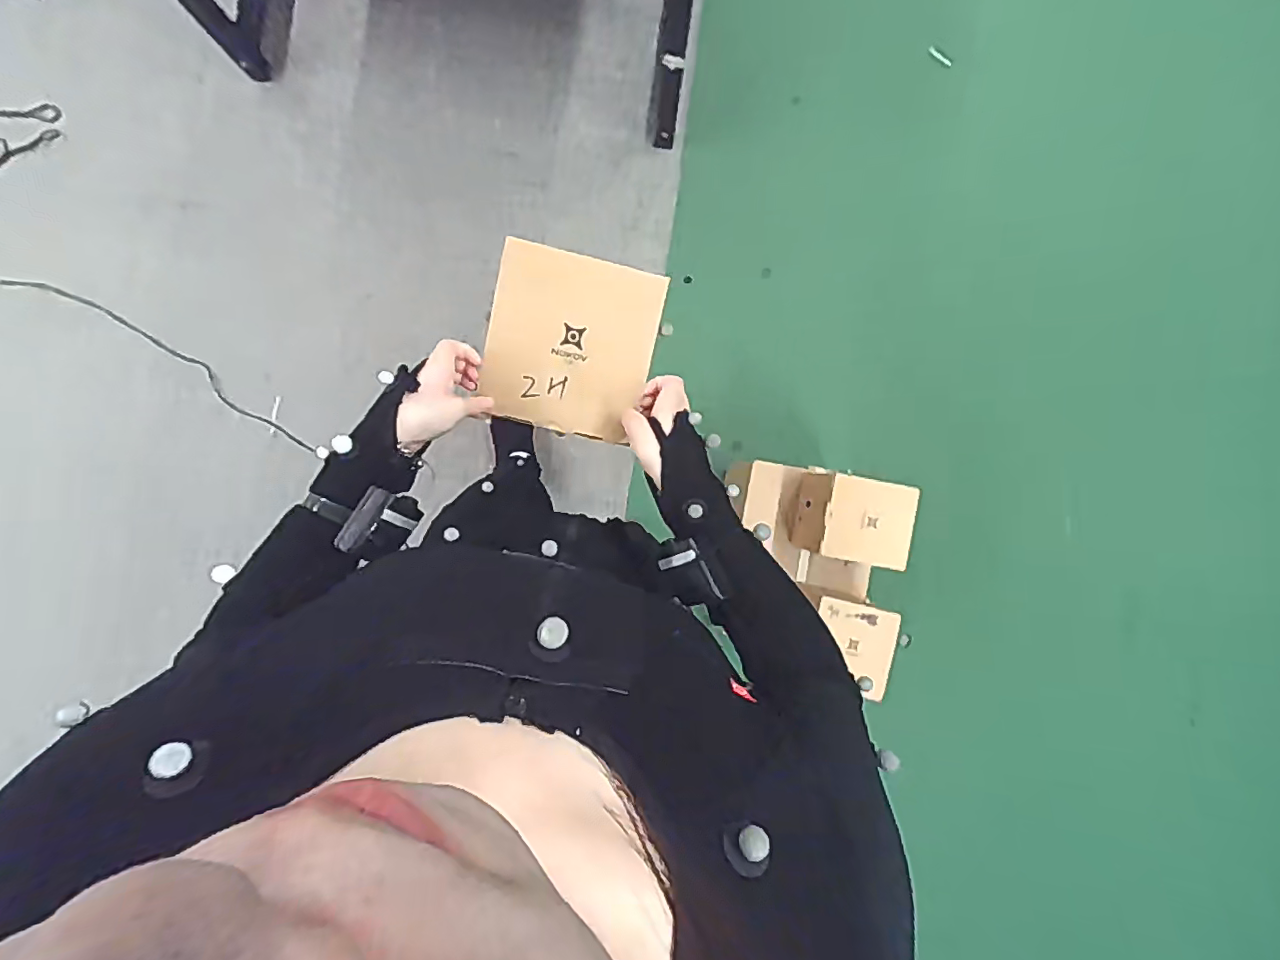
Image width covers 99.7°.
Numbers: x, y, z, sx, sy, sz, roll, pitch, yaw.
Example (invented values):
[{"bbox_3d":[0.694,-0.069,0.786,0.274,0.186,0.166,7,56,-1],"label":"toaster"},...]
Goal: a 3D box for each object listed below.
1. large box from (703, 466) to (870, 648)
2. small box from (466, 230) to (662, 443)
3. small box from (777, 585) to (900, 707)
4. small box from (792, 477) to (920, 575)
[{"bbox_3d":[0.361,0.183,1.360,0.320,0.320,0.408,10,90,-1],"label":"large box"},{"bbox_3d":[-0.080,-0.150,0.609,0.168,0.176,0.179,12,99,-4],"label":"small box"},{"bbox_3d":[0.398,0.333,1.115,0.168,0.176,0.179,15,89,-2],"label":"small box"},{"bbox_3d":[0.438,0.088,1.120,0.179,0.176,0.168,11,90,-2],"label":"small box"}]
